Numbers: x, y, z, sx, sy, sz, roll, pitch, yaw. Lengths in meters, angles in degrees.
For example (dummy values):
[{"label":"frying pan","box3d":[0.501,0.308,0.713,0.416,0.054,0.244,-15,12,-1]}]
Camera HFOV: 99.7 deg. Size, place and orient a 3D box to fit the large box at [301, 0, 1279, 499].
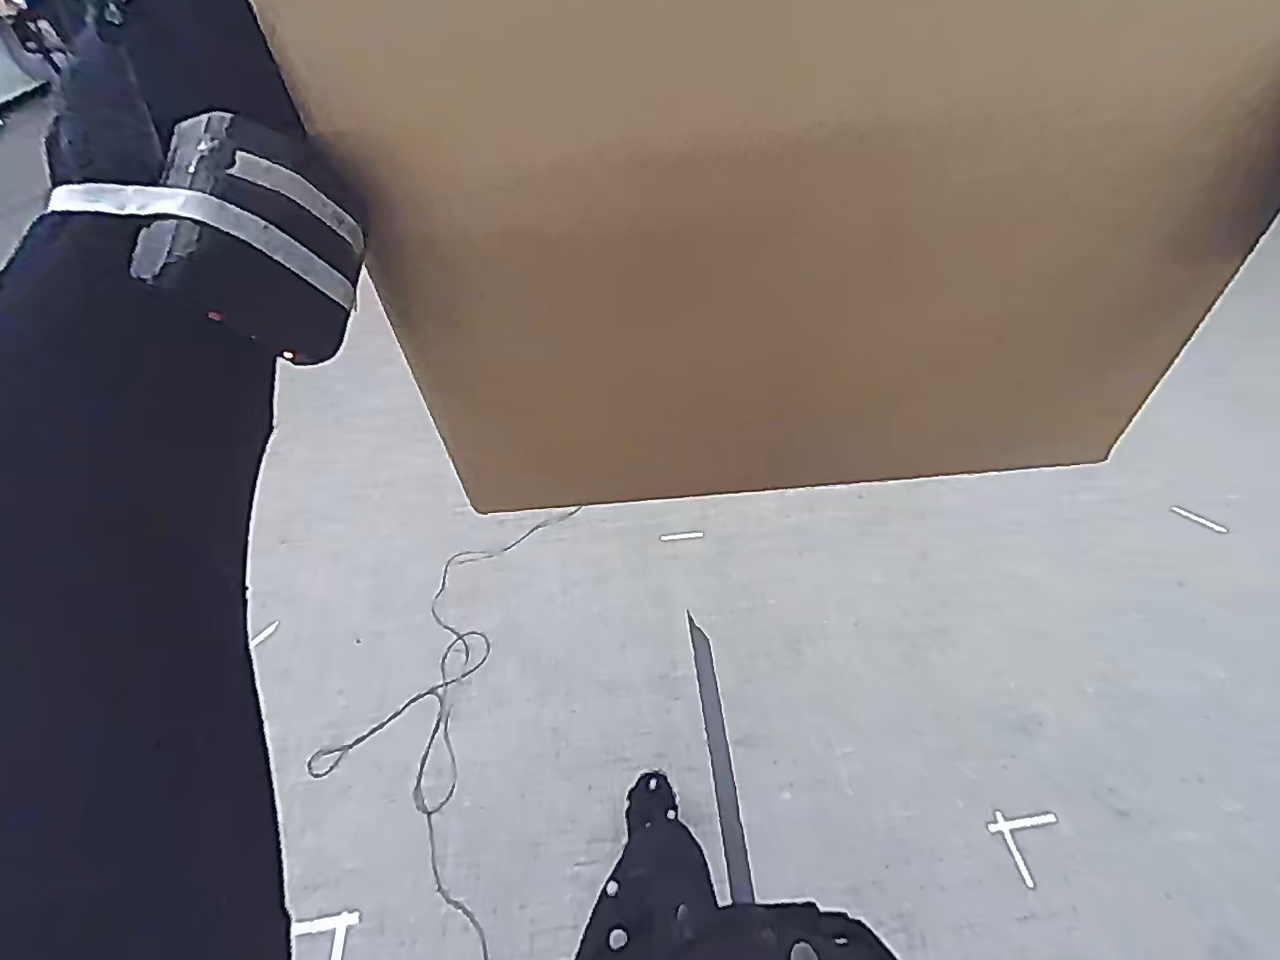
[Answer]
[{"label":"large box","box3d":[0.071,-0.213,0.365,0.408,0.320,0.320,-5,44,0]}]
